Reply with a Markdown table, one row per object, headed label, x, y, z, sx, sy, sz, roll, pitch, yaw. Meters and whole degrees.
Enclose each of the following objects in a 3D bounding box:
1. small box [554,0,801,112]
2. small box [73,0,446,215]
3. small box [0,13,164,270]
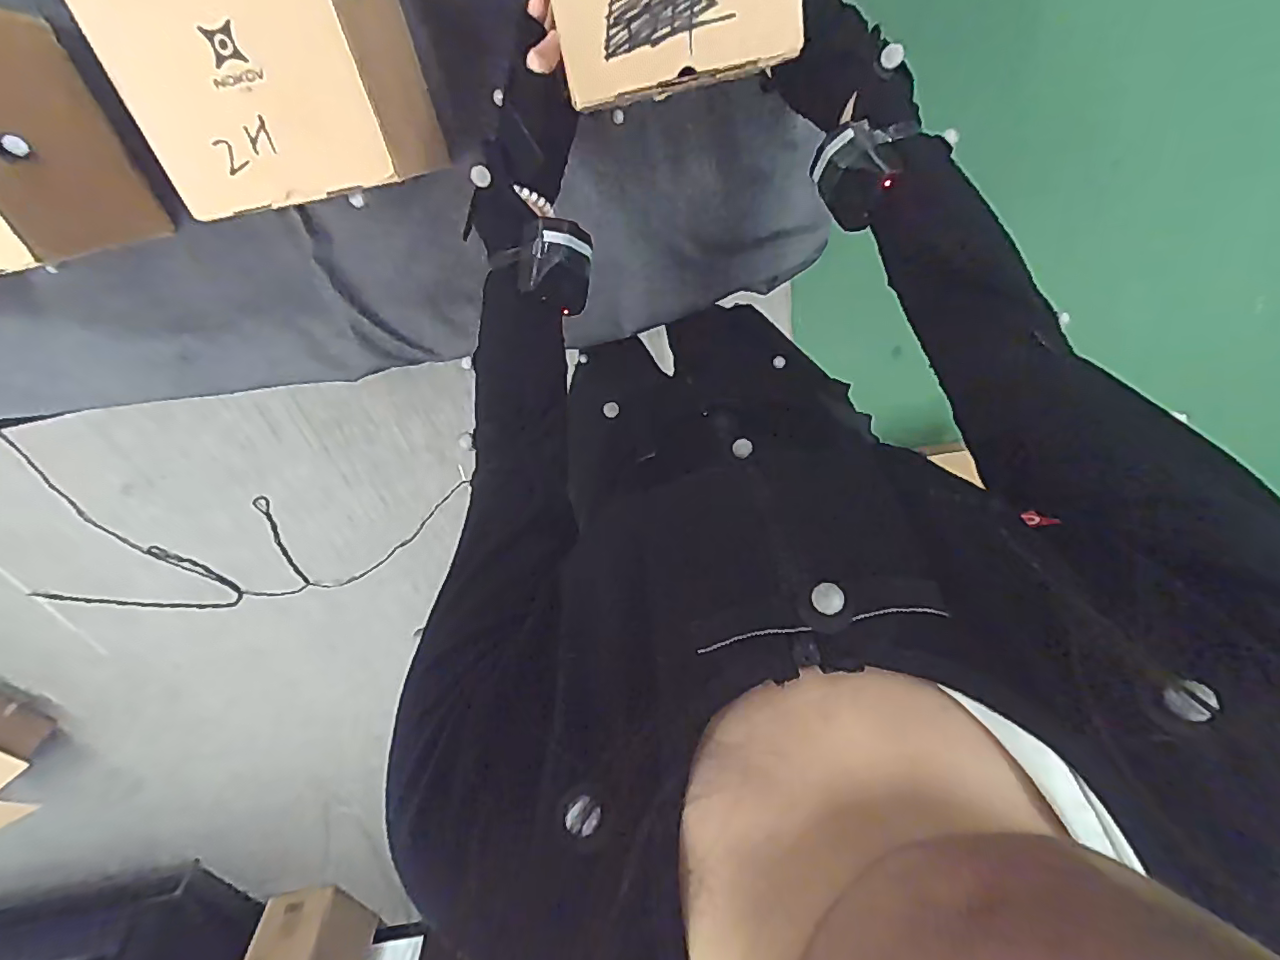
| label | x | y | z | sx | sy | sz | roll | pitch | yaw |
| --- | --- | --- | --- | --- | --- | --- | --- | --- | --- |
| small box | 0.015 | -0.395 | 0.405 | 0.168 | 0.176 | 0.179 | -11 | 123 | 3 |
| small box | -0.276 | -0.327 | 0.428 | 0.168 | 0.176 | 0.179 | -10 | 124 | 2 |
| small box | -0.569 | -0.271 | 0.444 | 0.168 | 0.176 | 0.179 | -11 | 125 | 2 |
